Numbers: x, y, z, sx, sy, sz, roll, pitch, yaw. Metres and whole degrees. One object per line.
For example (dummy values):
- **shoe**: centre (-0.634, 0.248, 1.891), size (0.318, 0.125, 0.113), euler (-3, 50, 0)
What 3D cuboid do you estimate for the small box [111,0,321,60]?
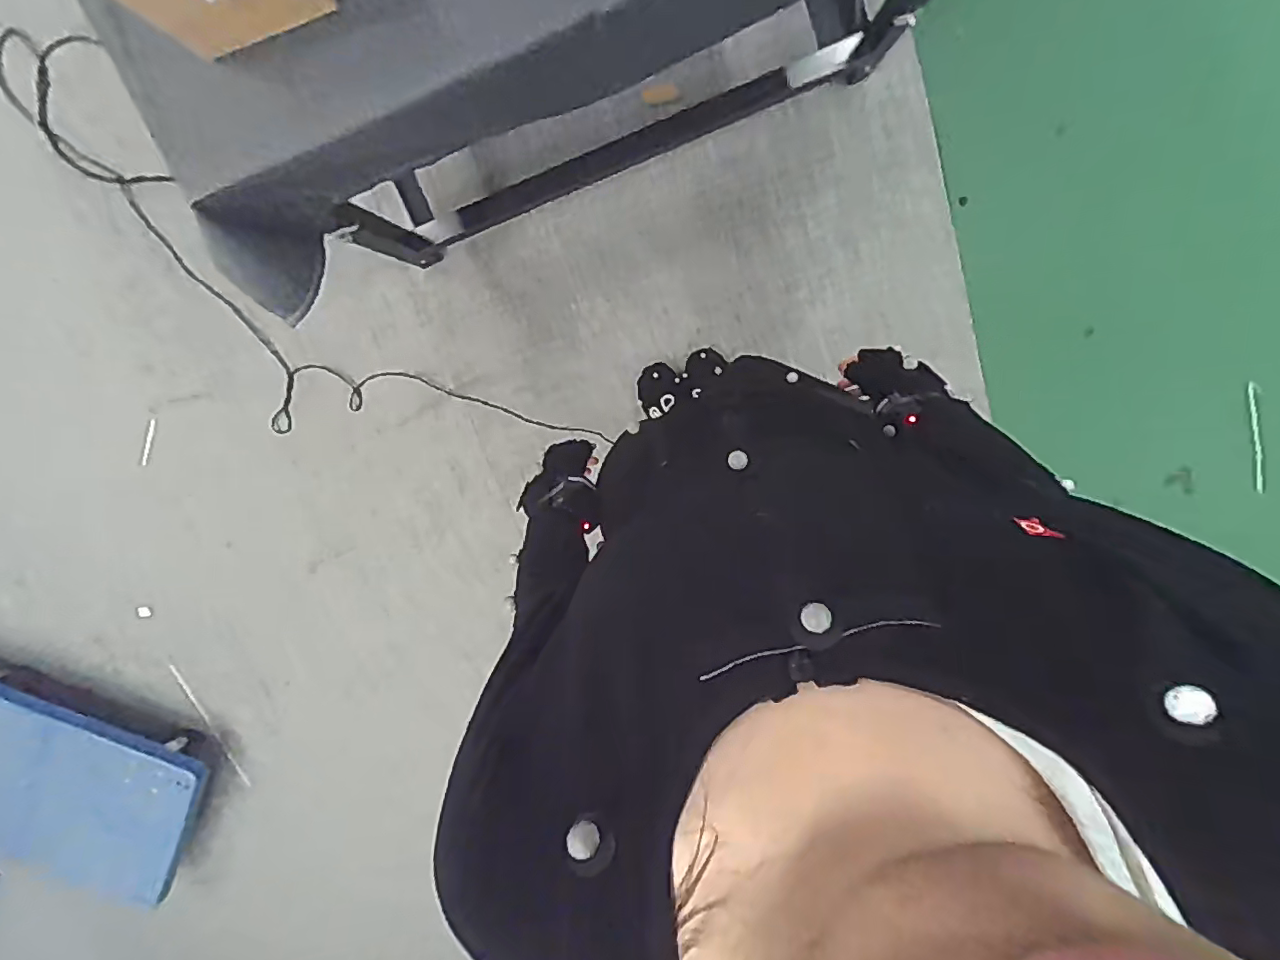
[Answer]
- **small box**: centre (-0.459, -0.577, 0.543), size (0.179, 0.176, 0.168), euler (-17, 102, 5)
